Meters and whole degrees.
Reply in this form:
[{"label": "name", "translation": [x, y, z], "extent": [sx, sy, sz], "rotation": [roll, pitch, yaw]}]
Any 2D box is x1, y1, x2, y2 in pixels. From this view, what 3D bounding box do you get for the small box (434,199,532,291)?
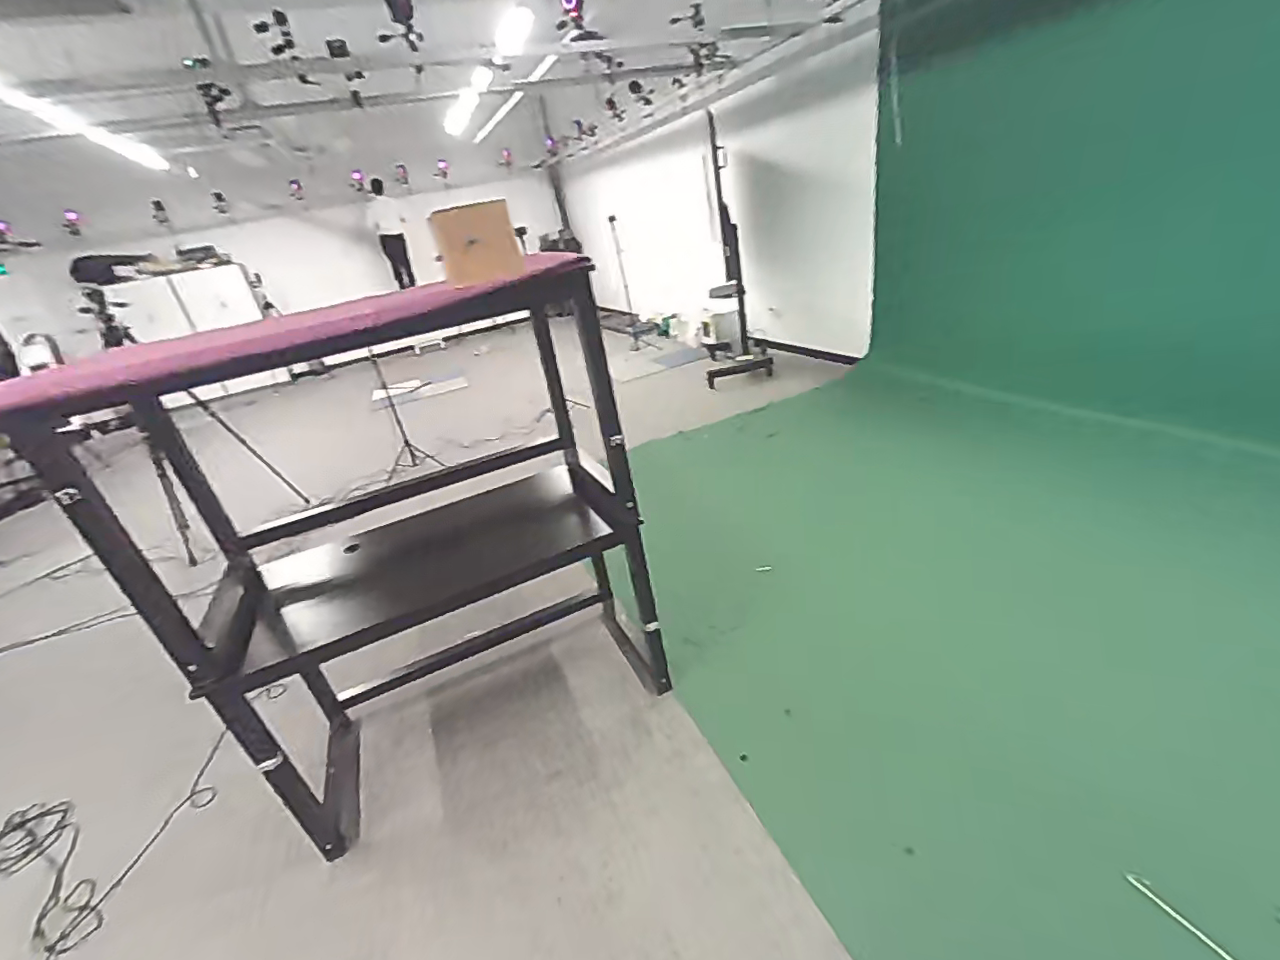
[{"label": "small box", "translation": [-0.385, -0.566, 1.321], "extent": [0.179, 0.176, 0.168], "rotation": [-21, 25, -16]}]
